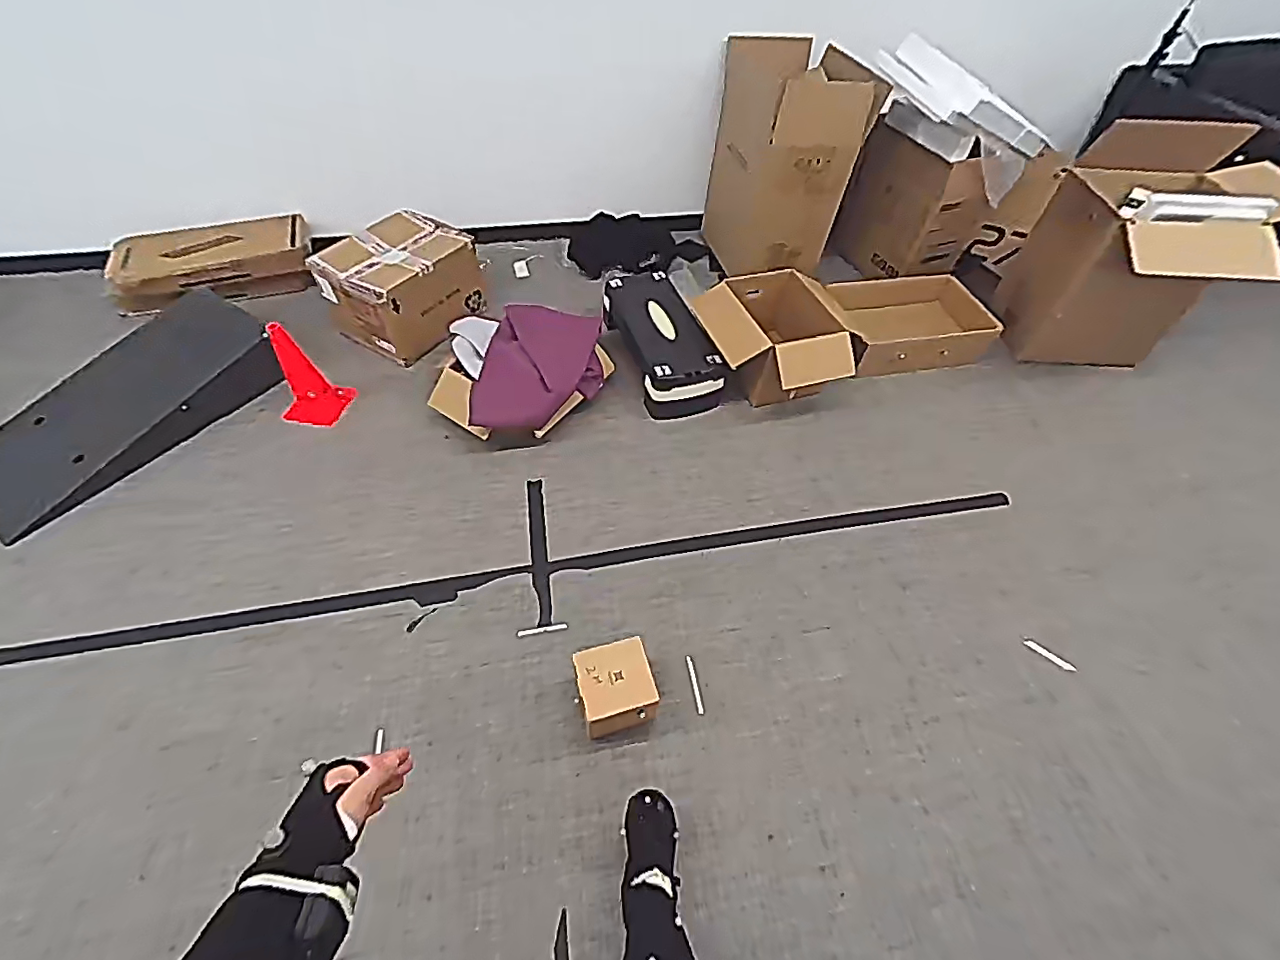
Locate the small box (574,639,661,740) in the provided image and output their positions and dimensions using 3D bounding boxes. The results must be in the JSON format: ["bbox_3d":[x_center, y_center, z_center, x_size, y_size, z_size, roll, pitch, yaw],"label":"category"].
[{"bbox_3d":[-0.061,0.523,1.345,0.179,0.176,0.168,-12,54,-12],"label":"small box"}]
